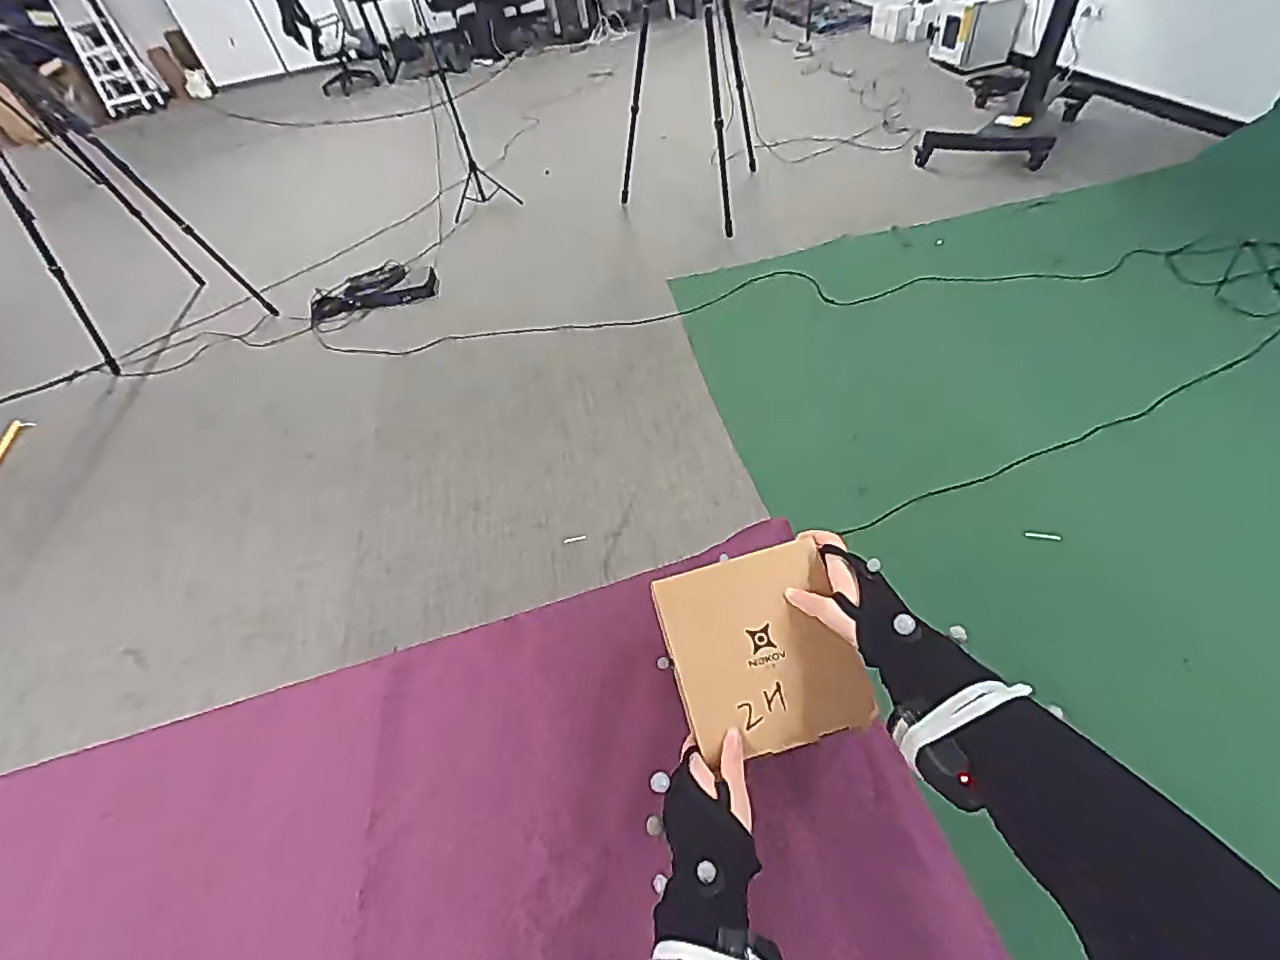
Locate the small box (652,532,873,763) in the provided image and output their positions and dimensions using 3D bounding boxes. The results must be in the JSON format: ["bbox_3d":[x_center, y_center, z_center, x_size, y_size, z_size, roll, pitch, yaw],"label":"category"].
[{"bbox_3d":[0.111,0.173,0.580,0.168,0.176,0.179,-16,74,-2],"label":"small box"}]
